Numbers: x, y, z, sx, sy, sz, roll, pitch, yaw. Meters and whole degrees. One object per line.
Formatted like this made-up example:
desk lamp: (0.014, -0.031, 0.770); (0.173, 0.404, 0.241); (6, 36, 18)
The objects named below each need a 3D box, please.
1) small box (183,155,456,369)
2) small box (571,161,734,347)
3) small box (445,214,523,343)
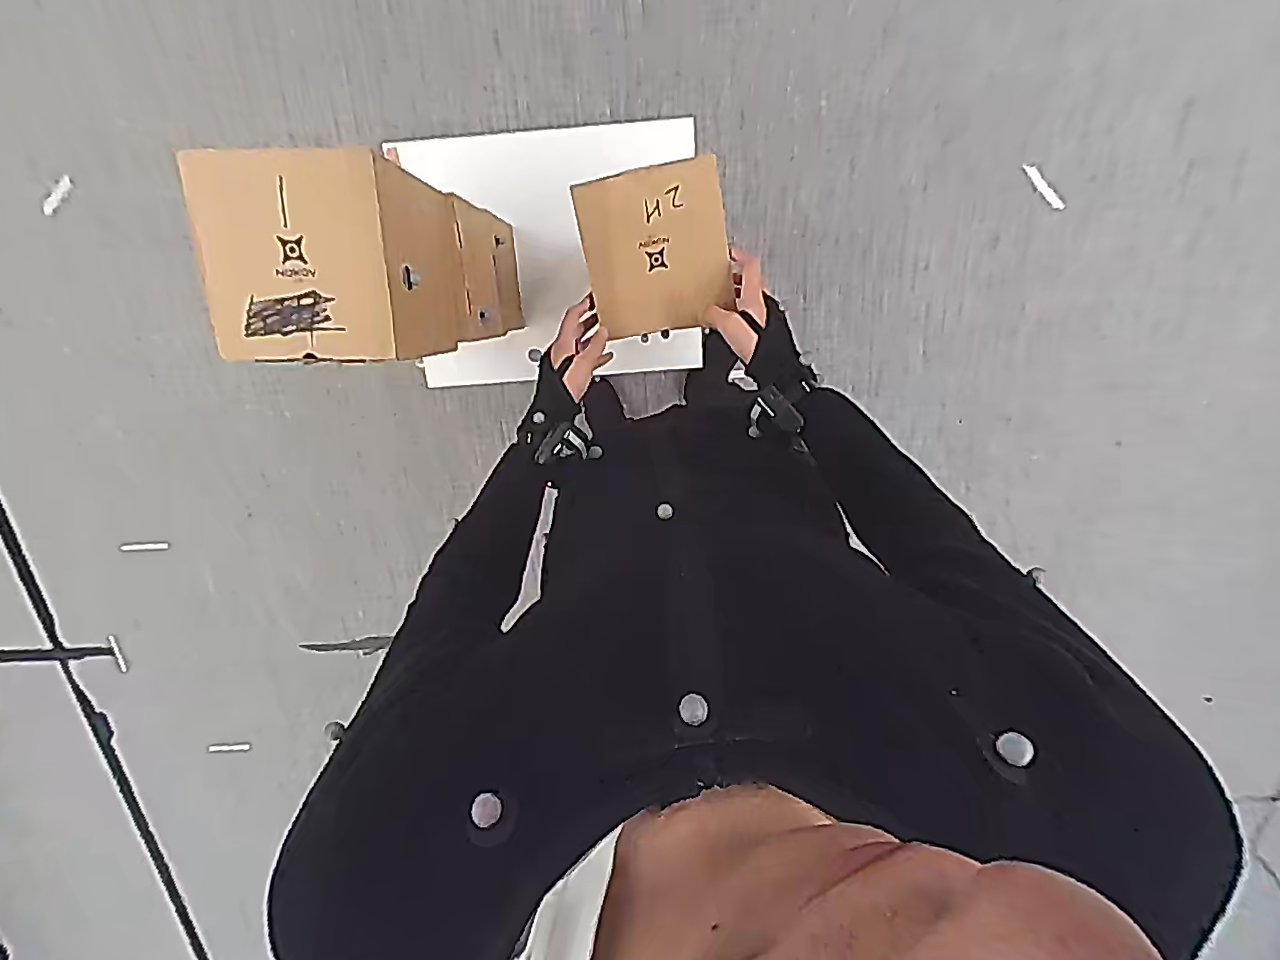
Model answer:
small box: (-0.298, -0.210, 0.550); (0.168, 0.176, 0.179); (0, 106, 0)
small box: (0.021, -0.280, 0.696); (0.168, 0.176, 0.179); (-10, 107, 5)
small box: (-0.291, -0.313, 0.862); (0.168, 0.176, 0.179); (-3, 107, 1)
